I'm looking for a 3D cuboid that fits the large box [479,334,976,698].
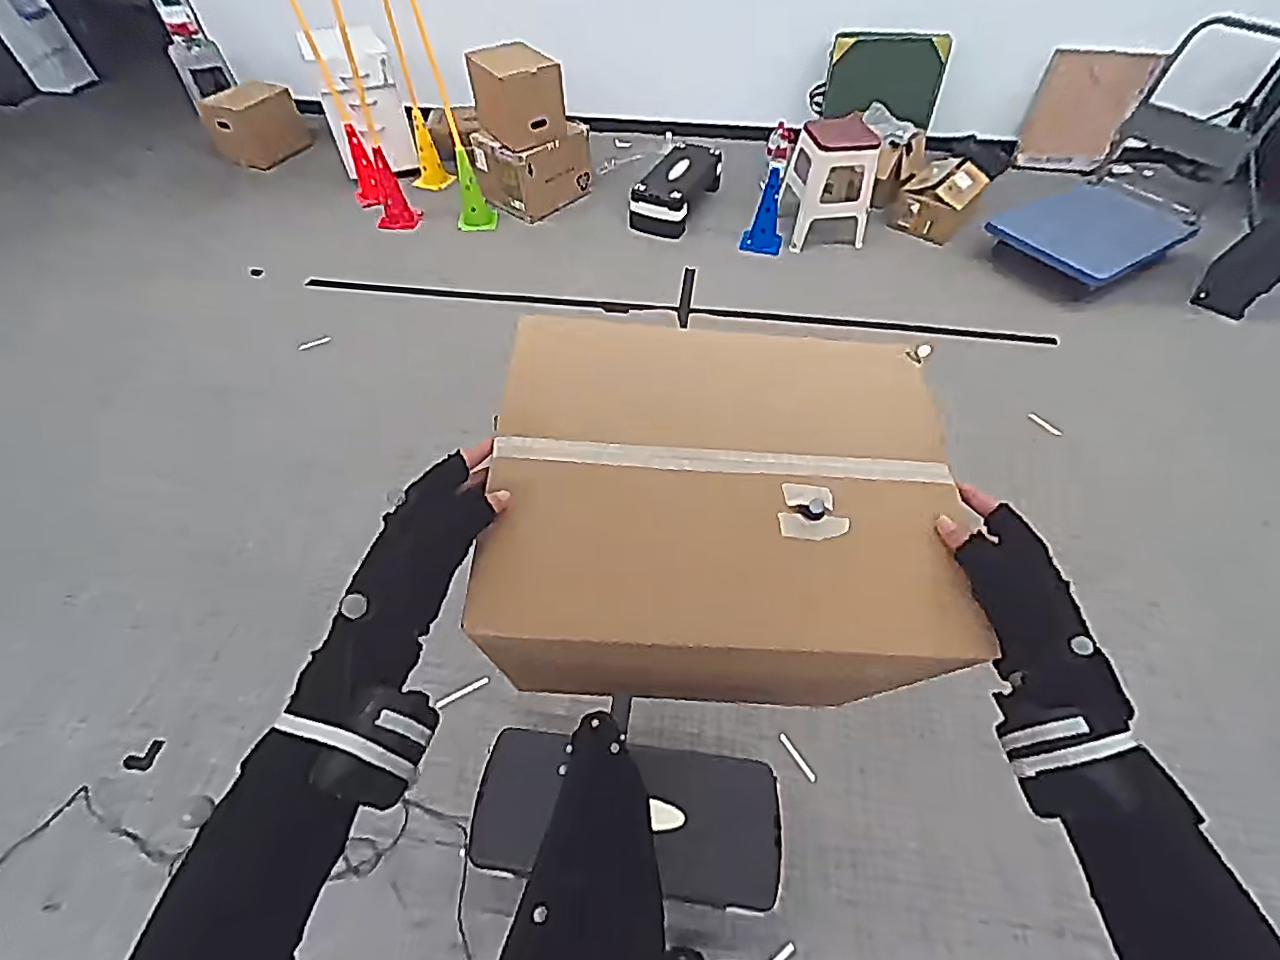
[{"bbox_3d":[0.061,0.065,0.619,0.408,0.320,0.320,3,61,-4],"label":"large box"}]
